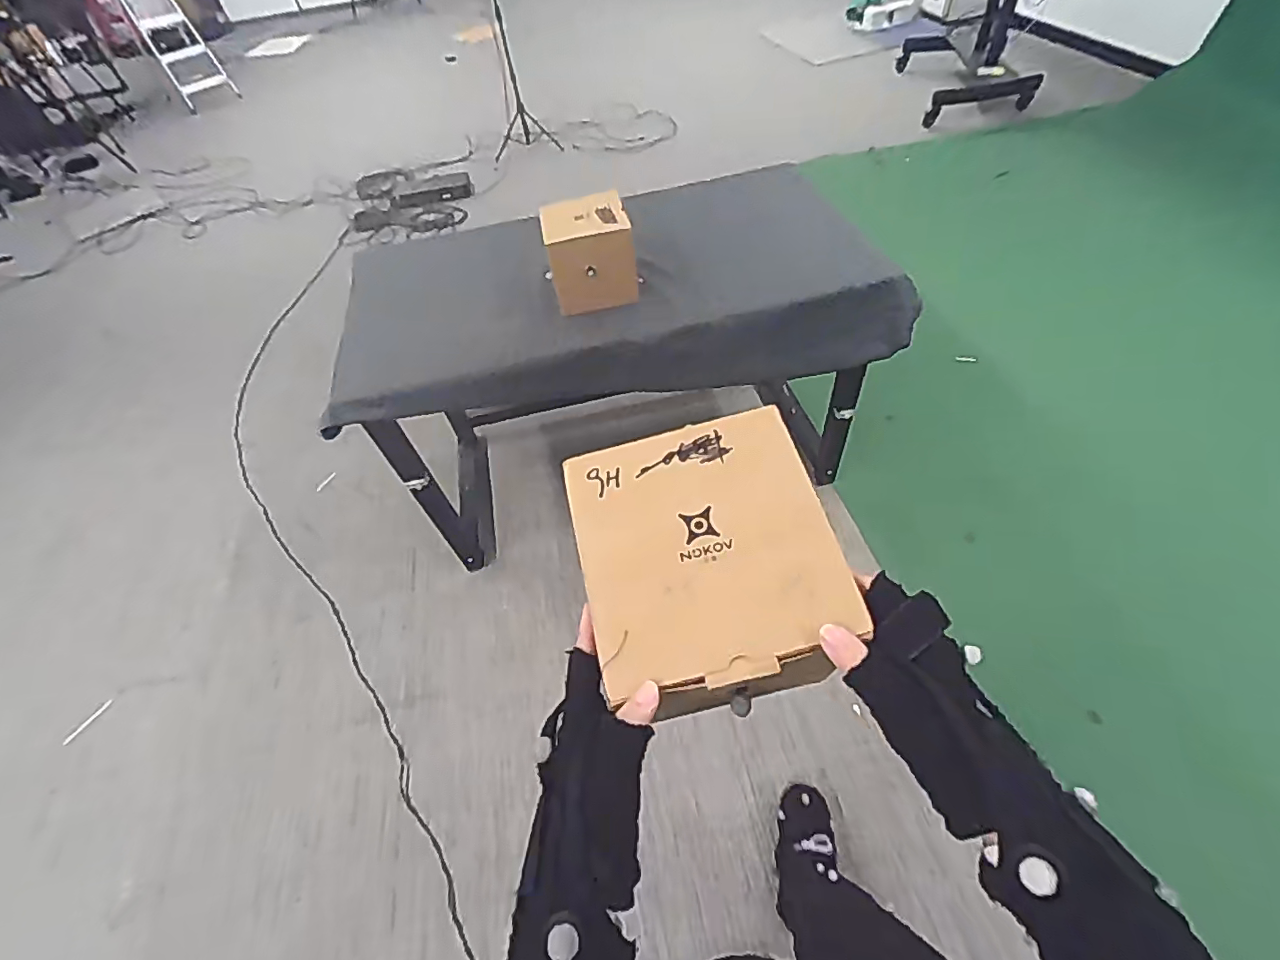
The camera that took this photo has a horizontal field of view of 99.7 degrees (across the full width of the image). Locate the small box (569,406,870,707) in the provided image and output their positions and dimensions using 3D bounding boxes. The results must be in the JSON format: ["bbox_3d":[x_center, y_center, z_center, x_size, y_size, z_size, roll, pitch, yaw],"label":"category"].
[{"bbox_3d":[0.054,0.074,0.433,0.168,0.176,0.179,-15,62,0],"label":"small box"}]

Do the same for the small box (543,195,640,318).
[{"bbox_3d":[-0.098,-0.475,1.157,0.179,0.176,0.168,-12,51,-1],"label":"small box"}]
